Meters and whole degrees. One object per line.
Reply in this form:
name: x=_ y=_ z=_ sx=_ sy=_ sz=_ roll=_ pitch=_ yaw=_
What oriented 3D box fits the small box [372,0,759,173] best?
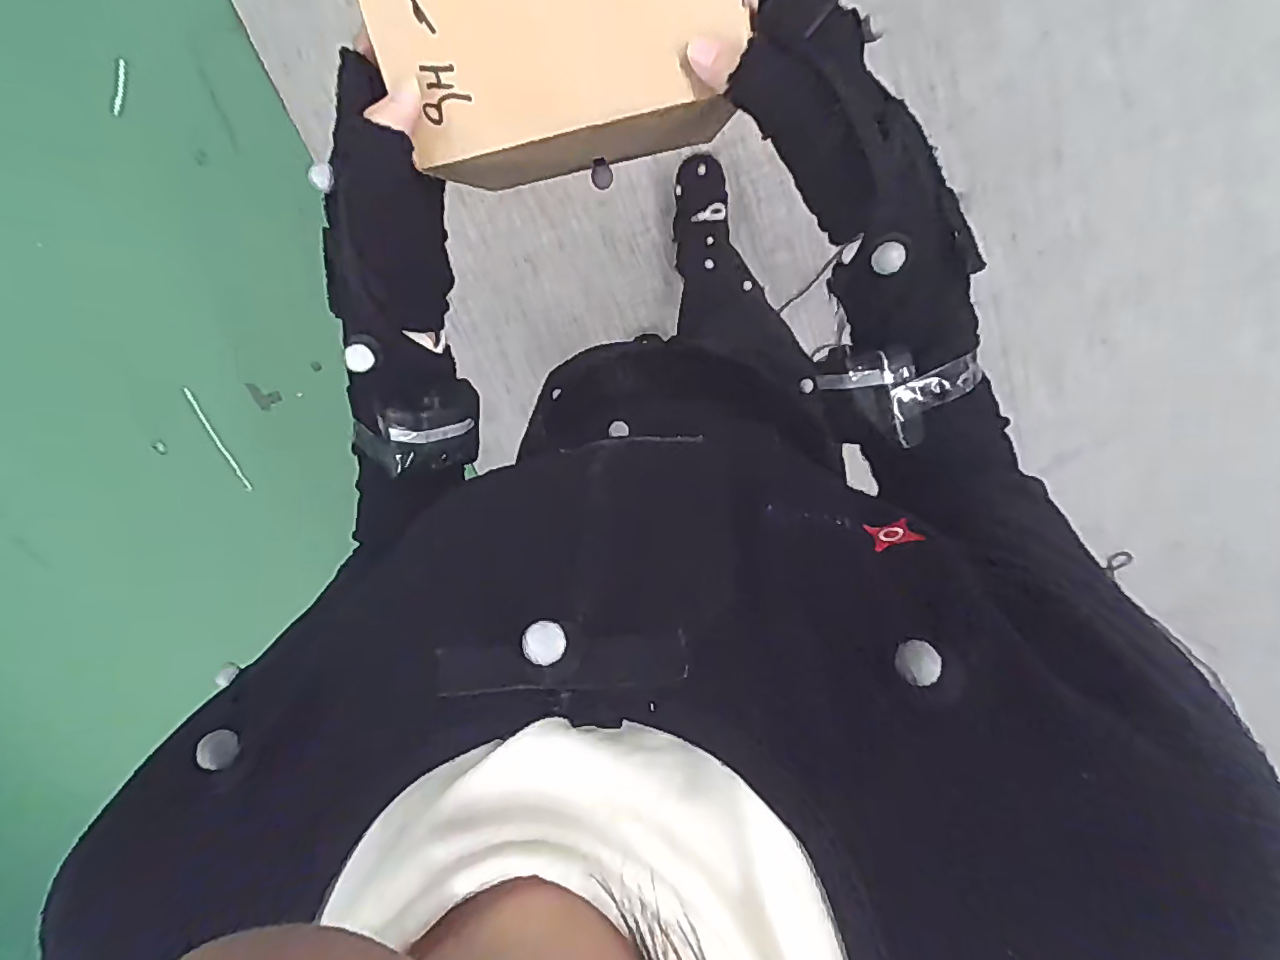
small box: x=-0.044 y=-0.288 z=0.304 sx=0.179 sy=0.176 sz=0.168 roll=-11 pitch=113 yaw=4
